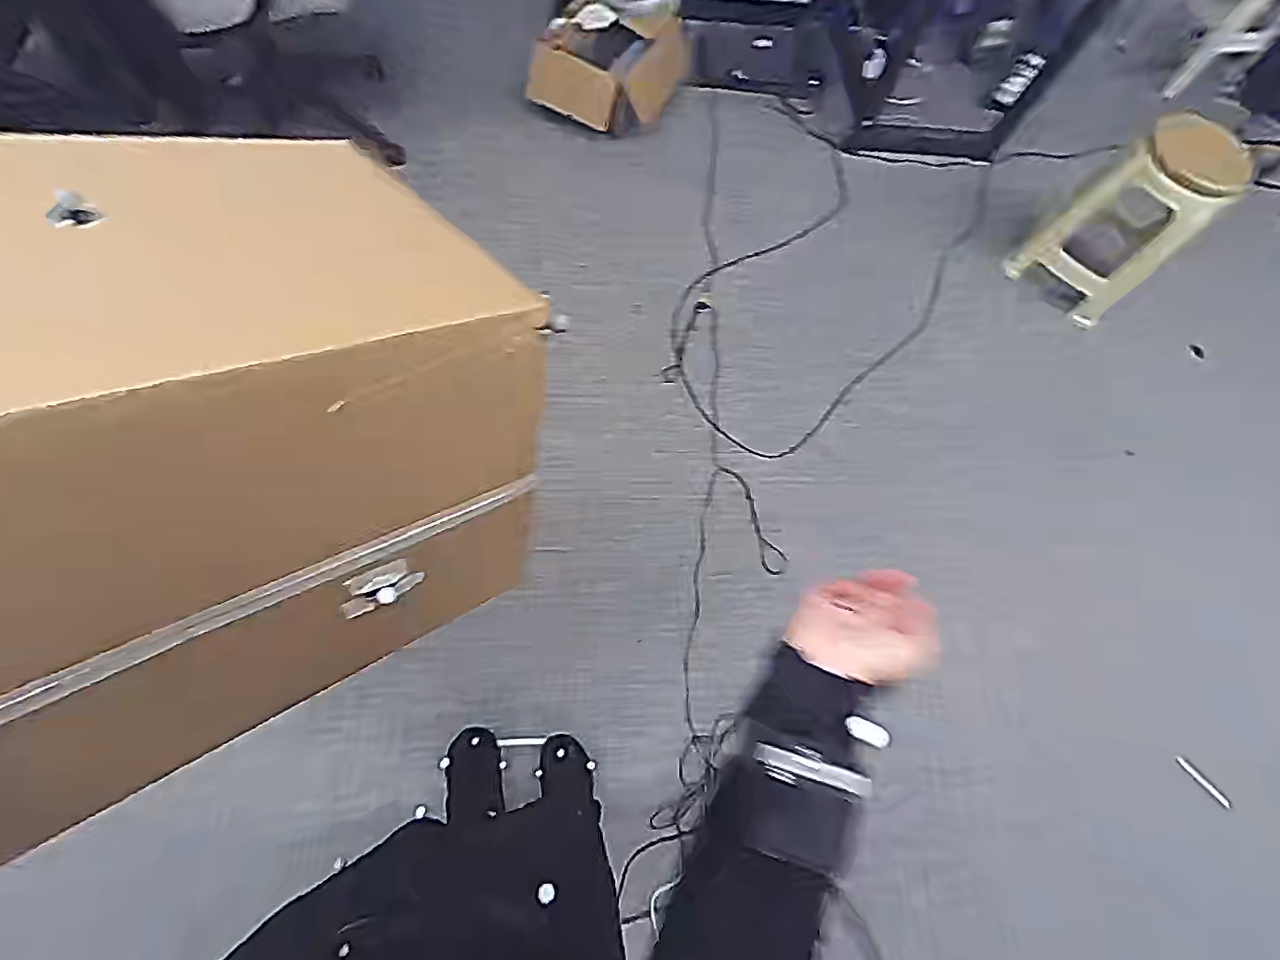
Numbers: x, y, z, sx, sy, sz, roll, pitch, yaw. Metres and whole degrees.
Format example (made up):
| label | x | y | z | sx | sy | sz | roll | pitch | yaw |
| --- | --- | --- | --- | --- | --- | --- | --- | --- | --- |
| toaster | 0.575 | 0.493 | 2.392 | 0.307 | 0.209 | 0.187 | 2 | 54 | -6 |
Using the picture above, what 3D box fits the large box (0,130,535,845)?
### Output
| label | x | y | z | sx | sy | sz | roll | pitch | yaw |
| --- | --- | --- | --- | --- | --- | --- | --- | --- | --- |
| large box | -0.339 | -0.038 | 0.399 | 0.408 | 0.320 | 0.320 | -27 | 59 | -36 |
